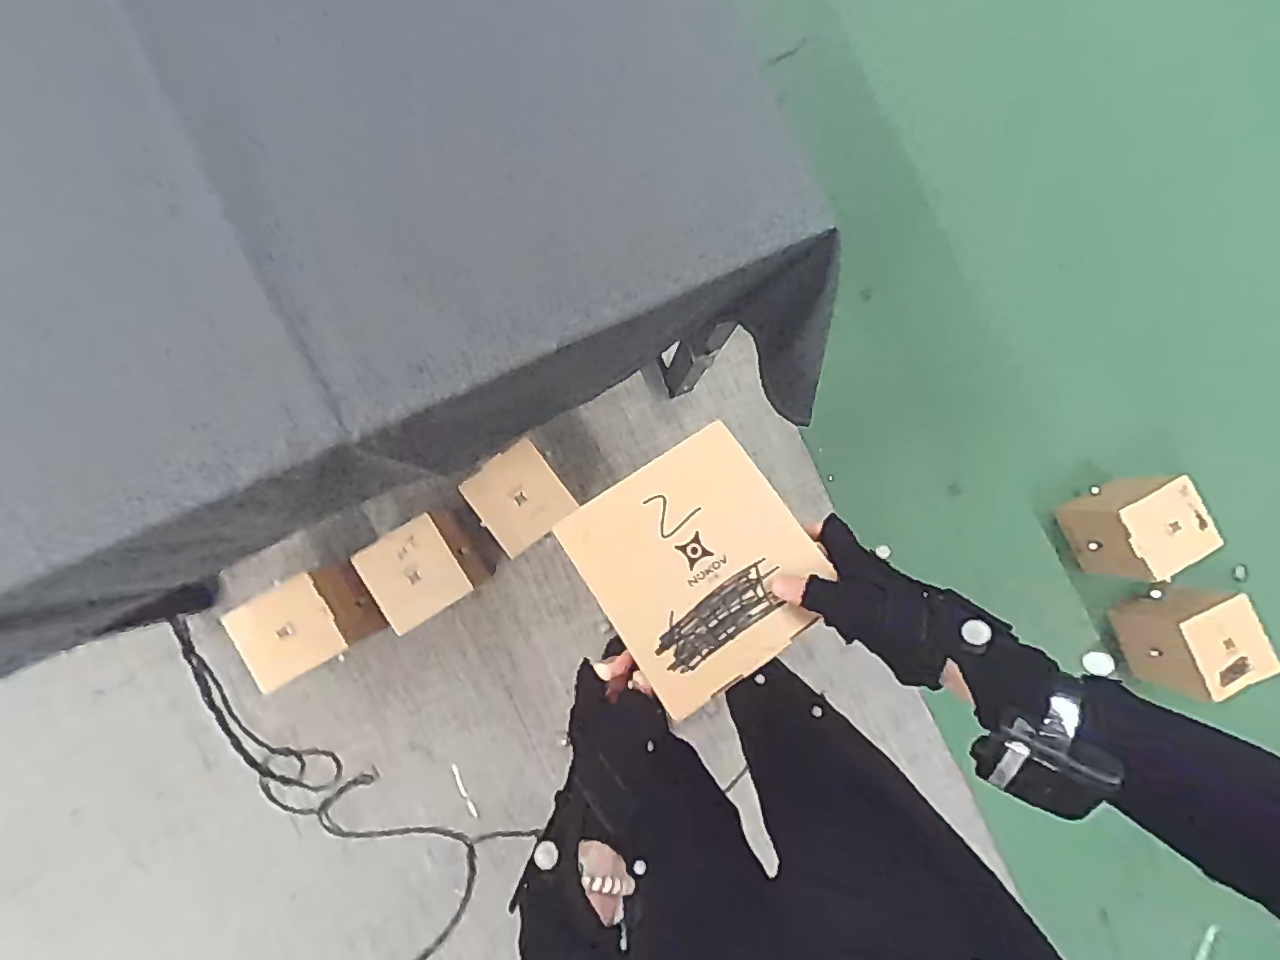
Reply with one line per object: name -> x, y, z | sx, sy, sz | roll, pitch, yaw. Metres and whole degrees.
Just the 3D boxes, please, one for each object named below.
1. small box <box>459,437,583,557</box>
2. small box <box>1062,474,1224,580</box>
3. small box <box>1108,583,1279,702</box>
small box -> -0.233, 0.037, 1.102 | 0.168, 0.176, 0.179 | -37, 89, -4
small box -> 1.076, 0.099, 1.179 | 0.179, 0.176, 0.168 | -26, 89, -3
small box -> 1.188, 0.342, 1.174 | 0.168, 0.176, 0.179 | -23, 89, -4
